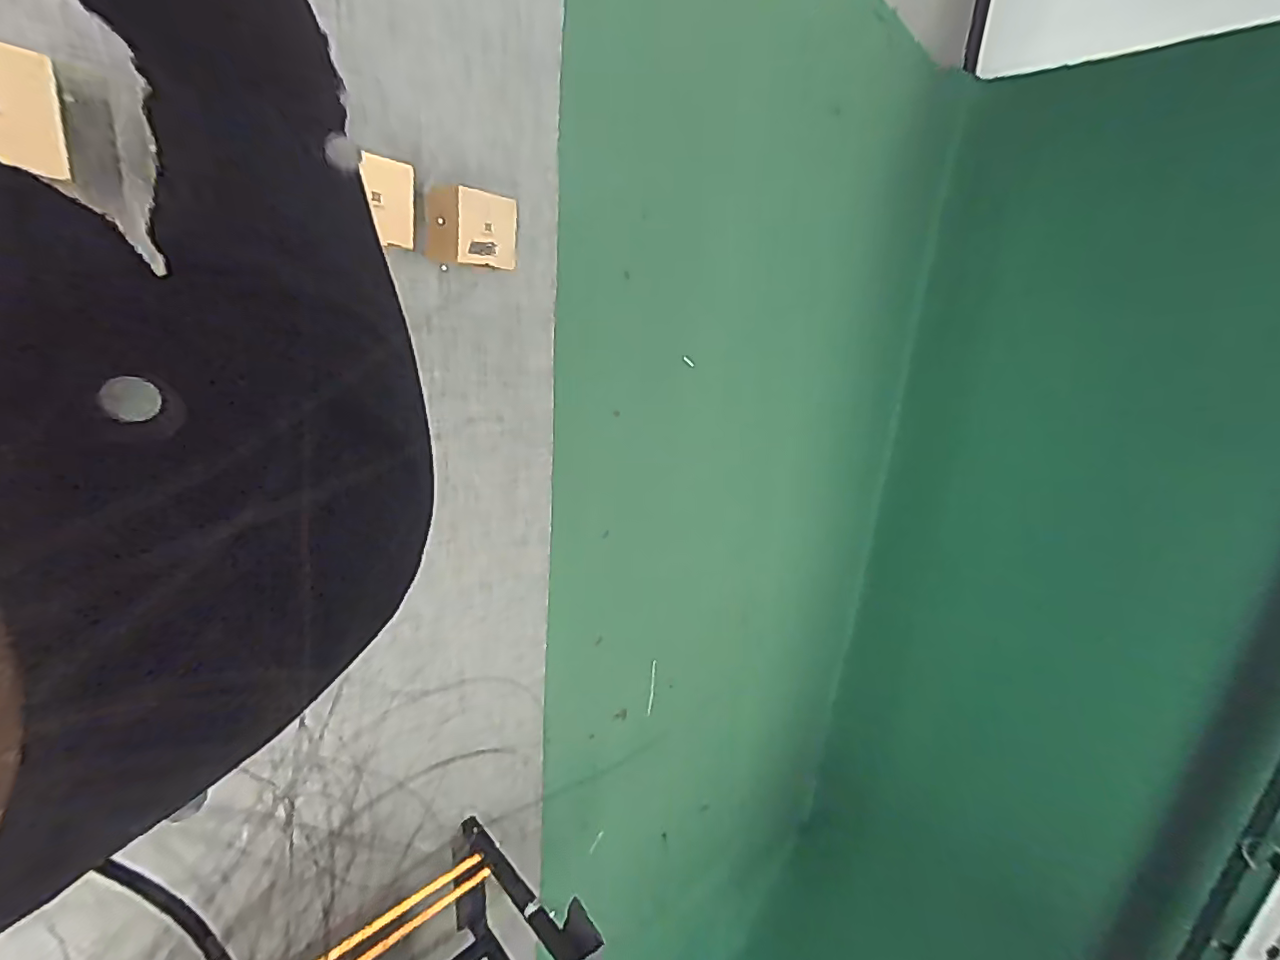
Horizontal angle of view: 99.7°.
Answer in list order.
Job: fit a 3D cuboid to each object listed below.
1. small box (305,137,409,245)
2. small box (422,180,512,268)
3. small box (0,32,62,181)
[{"bbox_3d":[-0.640,-0.639,1.220,0.168,0.176,0.179,-9,113,-46],"label":"small box"},{"bbox_3d":[-0.455,-0.660,1.414,0.168,0.176,0.179,-10,112,-45],"label":"small box"},{"bbox_3d":[-1.019,-0.580,0.827,0.168,0.176,0.179,-9,112,-44],"label":"small box"}]
